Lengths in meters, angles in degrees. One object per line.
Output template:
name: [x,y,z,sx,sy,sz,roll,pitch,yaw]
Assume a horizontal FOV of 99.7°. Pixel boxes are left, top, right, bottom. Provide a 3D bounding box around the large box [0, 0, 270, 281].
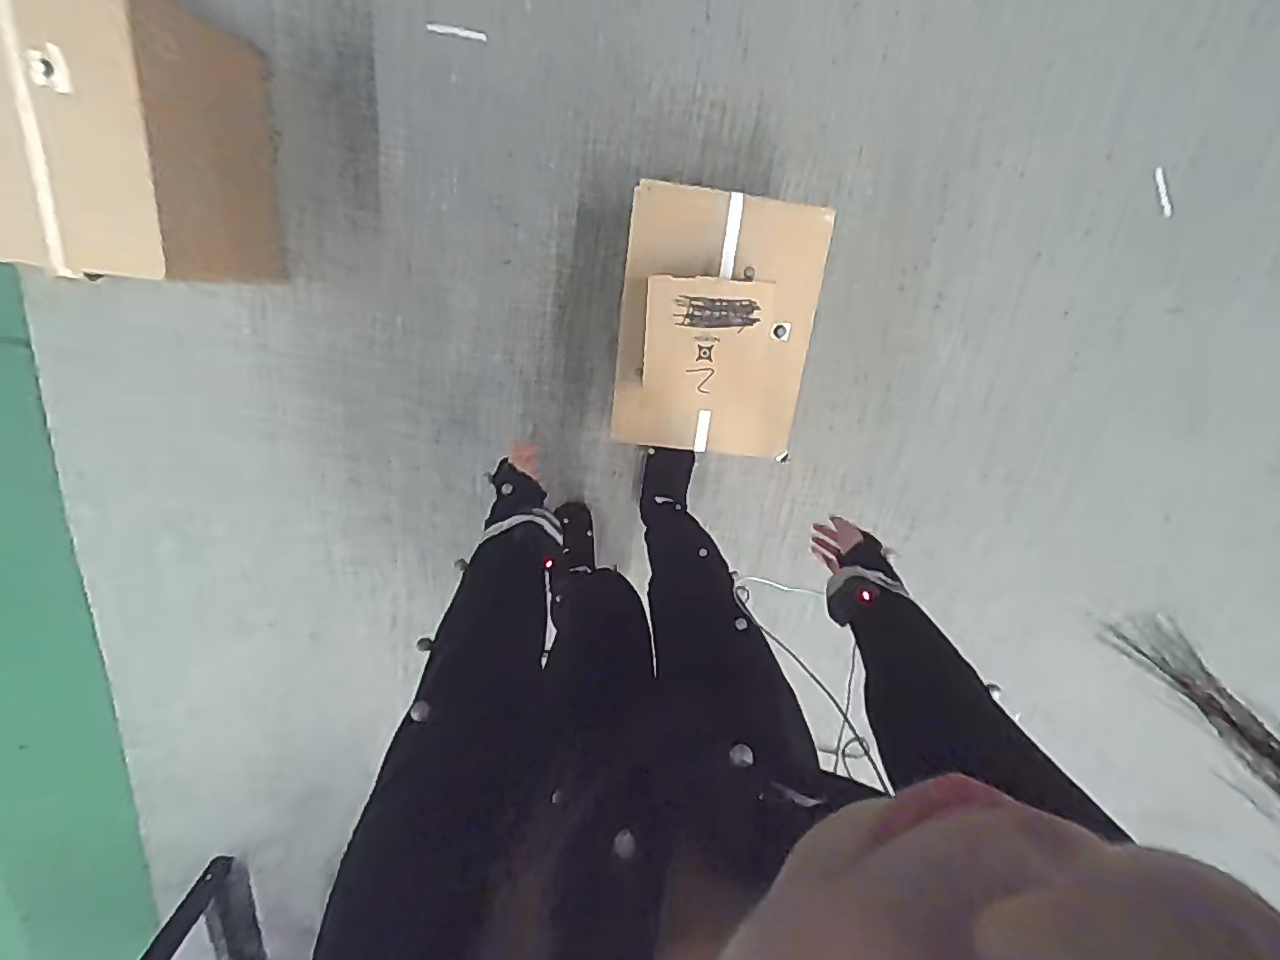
large box: [-0.881,-0.550,0.888,0.320,0.320,0.408,6,110,-2]
